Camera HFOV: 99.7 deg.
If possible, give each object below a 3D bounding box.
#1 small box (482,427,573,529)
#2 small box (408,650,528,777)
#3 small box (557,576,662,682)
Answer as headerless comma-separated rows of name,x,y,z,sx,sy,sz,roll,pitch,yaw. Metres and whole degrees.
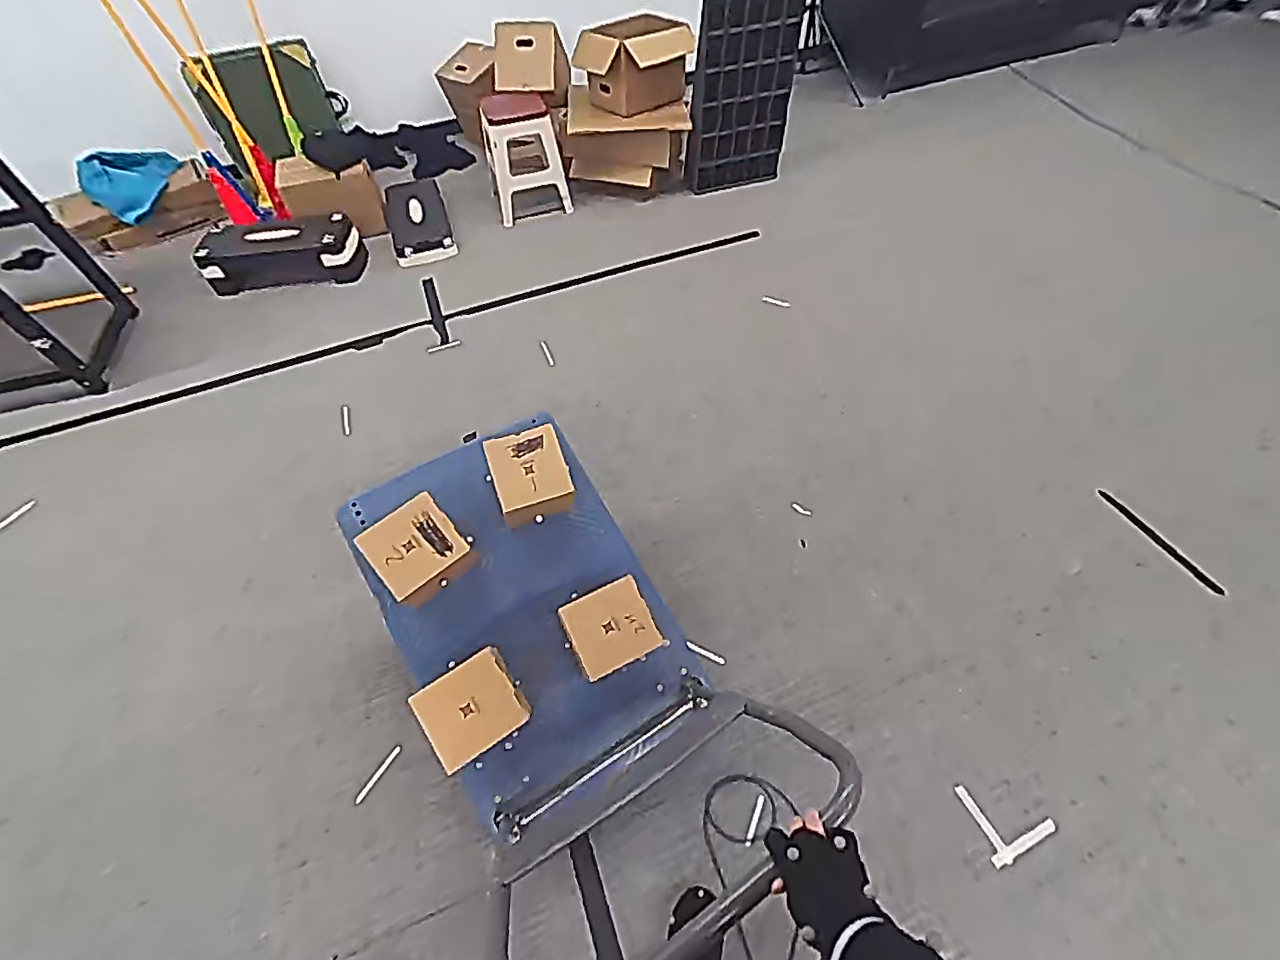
small box,-0.269,0.000,1.292,0.168,0.176,0.179,-18,77,-15
small box,-0.345,0.475,1.121,0.179,0.176,0.168,-31,80,-19
small box,-0.074,0.337,1.214,0.179,0.176,0.168,-24,78,-16
